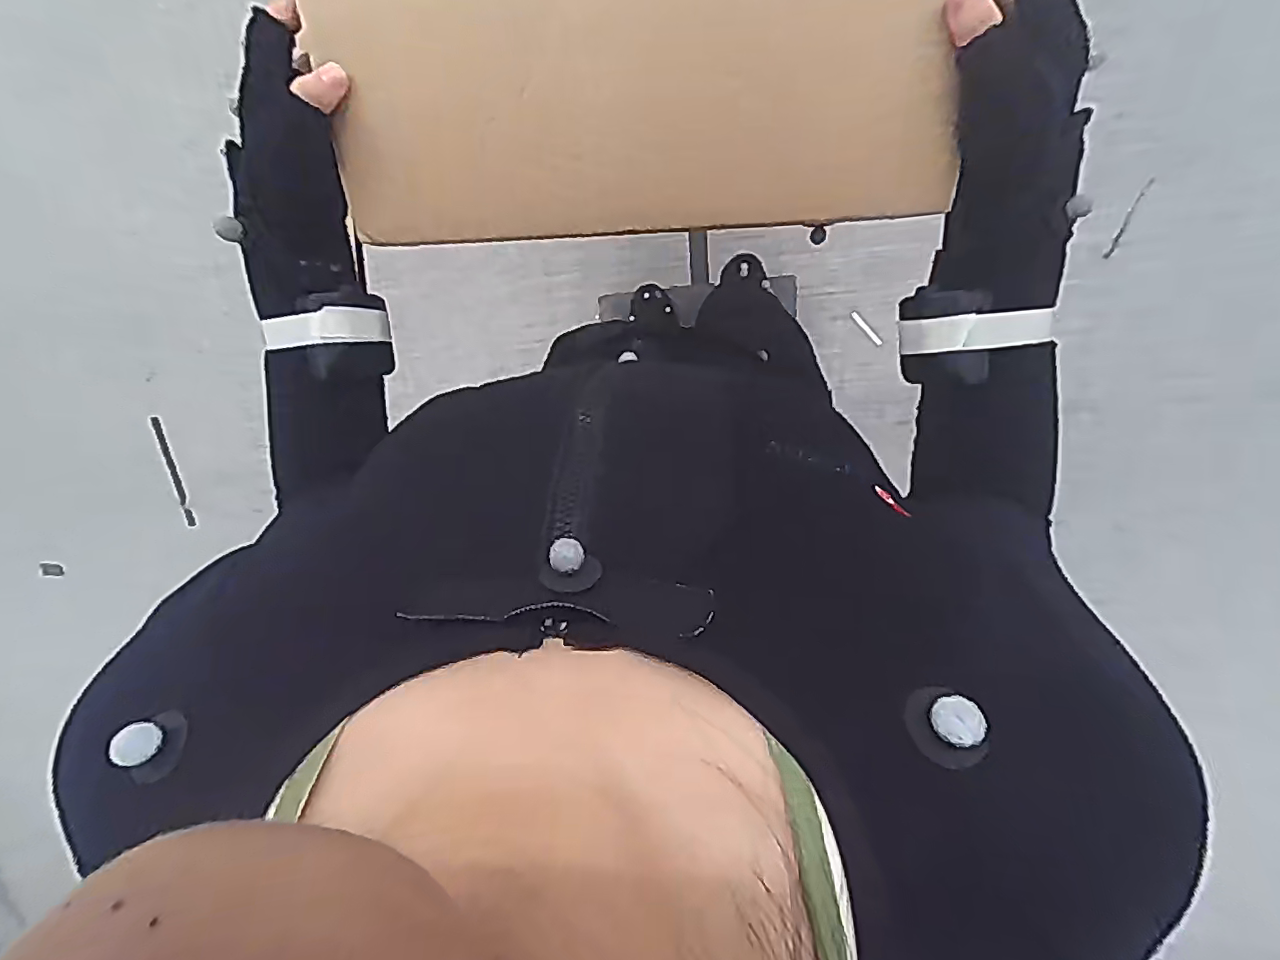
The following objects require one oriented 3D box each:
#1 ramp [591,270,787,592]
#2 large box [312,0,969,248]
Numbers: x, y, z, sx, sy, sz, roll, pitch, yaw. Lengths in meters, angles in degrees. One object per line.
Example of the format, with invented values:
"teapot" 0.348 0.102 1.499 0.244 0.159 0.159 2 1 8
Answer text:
"ramp" 0.175 -0.066 1.575 0.509 0.206 0.991 -5 110 7
"large box" 0.004 -0.380 0.446 0.408 0.320 0.320 -1 115 5
